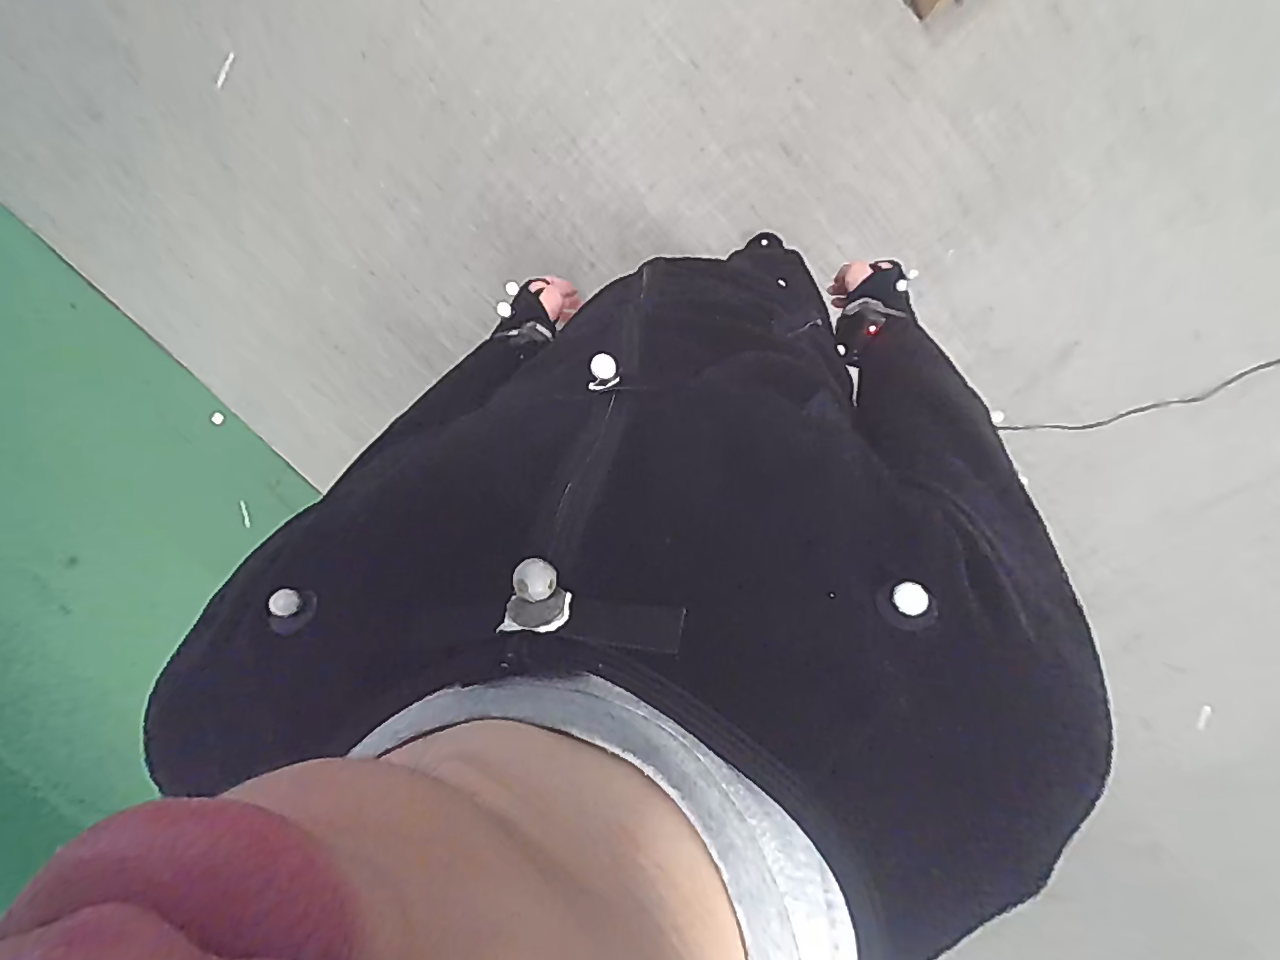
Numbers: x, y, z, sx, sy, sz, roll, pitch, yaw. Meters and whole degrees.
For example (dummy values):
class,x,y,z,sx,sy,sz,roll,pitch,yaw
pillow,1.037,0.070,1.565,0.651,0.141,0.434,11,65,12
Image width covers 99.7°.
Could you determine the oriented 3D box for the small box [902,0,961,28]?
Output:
class,x,y,z,sx,sy,sz,roll,pitch,yaw
small box,0.583,-1.011,1.013,0.168,0.176,0.179,-28,106,23
